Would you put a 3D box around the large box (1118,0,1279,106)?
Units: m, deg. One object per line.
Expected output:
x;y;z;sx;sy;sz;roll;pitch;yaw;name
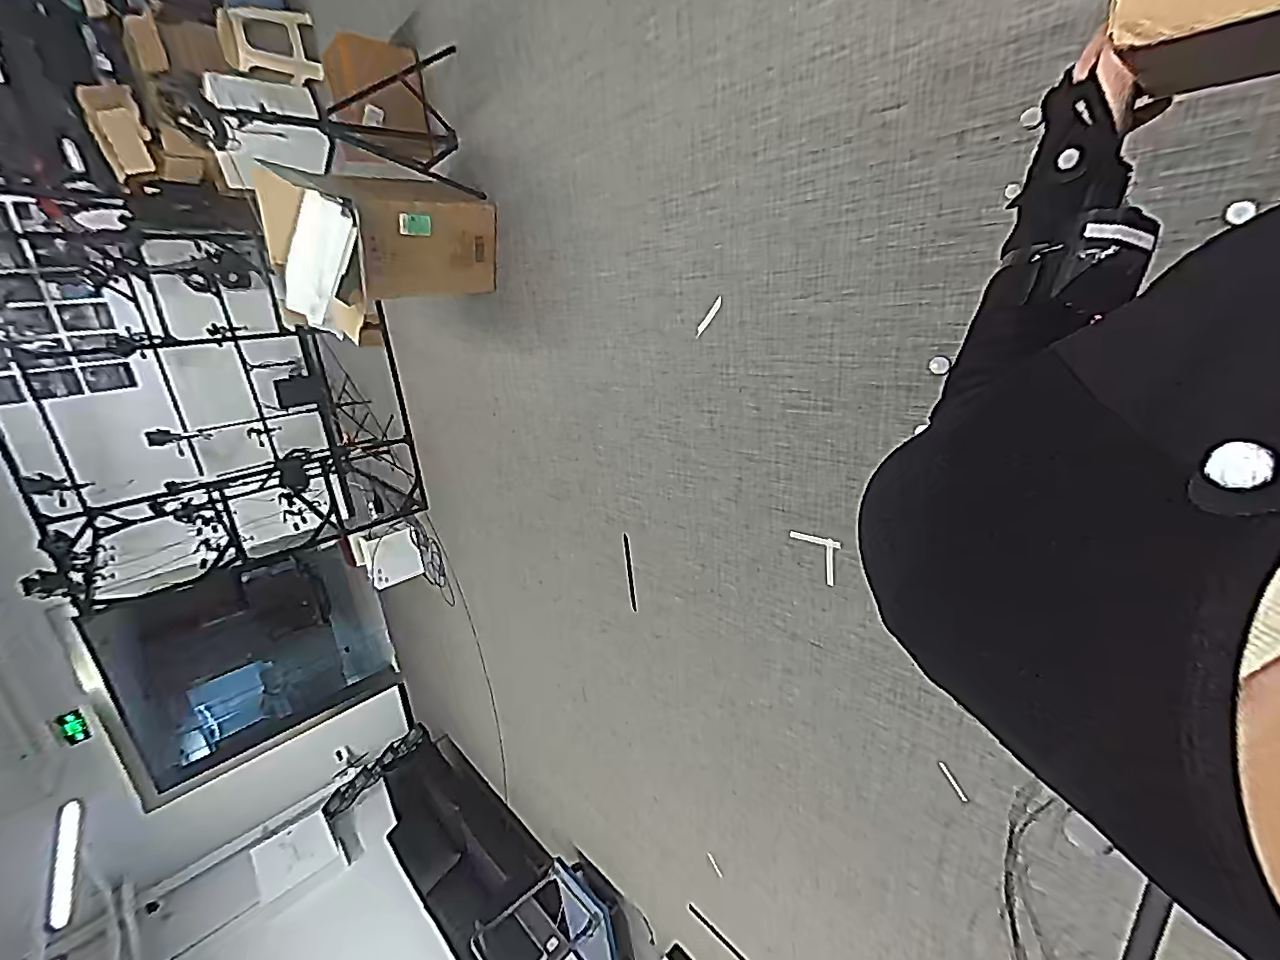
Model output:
0.425;-0.351;0.149;0.408;0.320;0.320;11;121;41;large box
